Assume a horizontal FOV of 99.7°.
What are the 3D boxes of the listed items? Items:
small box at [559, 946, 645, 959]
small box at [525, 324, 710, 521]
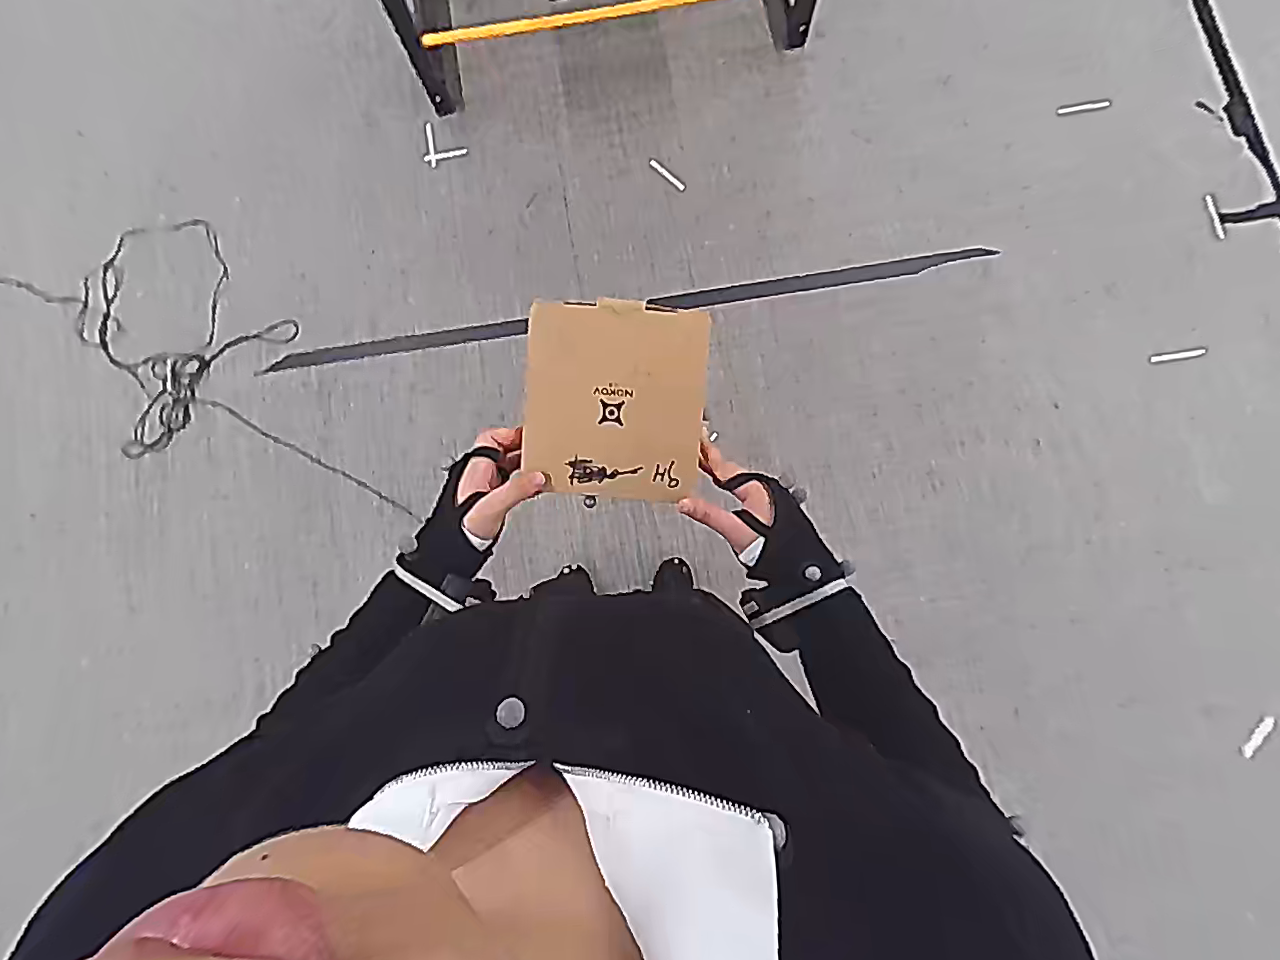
[{"bbox_3d":[-0.074,0.897,0.861,0.179,0.176,0.168,-11,81,2],"label":"small box"},{"bbox_3d":[-0.019,-0.062,0.592,0.168,0.176,0.179,5,97,3],"label":"small box"}]
